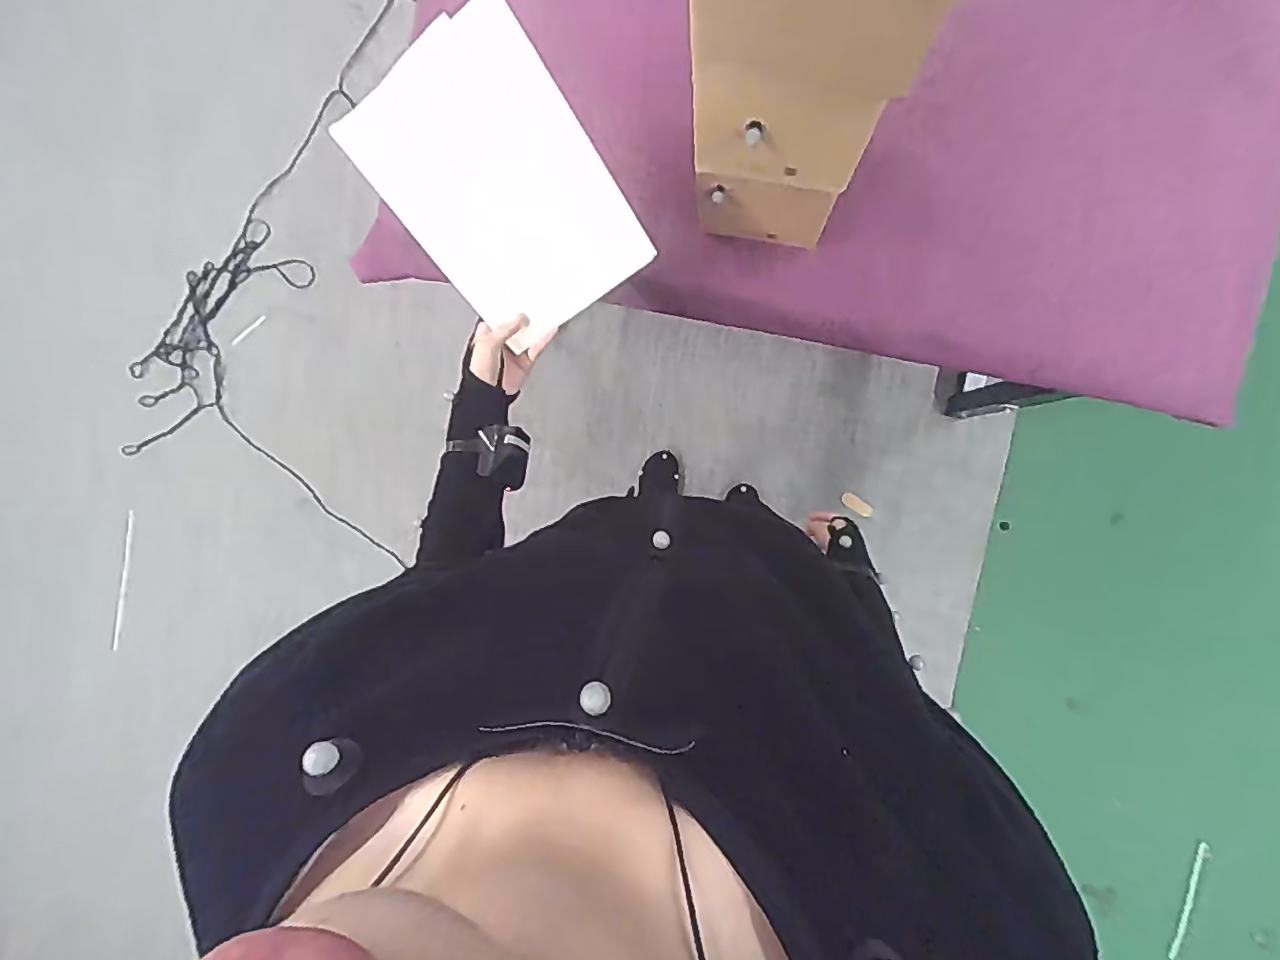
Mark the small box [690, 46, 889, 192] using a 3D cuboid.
[{"bbox_3d":[0.150,-0.411,0.521,0.168,0.176,0.179,13,91,7],"label":"small box"}]

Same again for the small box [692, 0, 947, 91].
[{"bbox_3d":[0.138,-0.402,0.357,0.179,0.176,0.168,15,91,7],"label":"small box"}]
